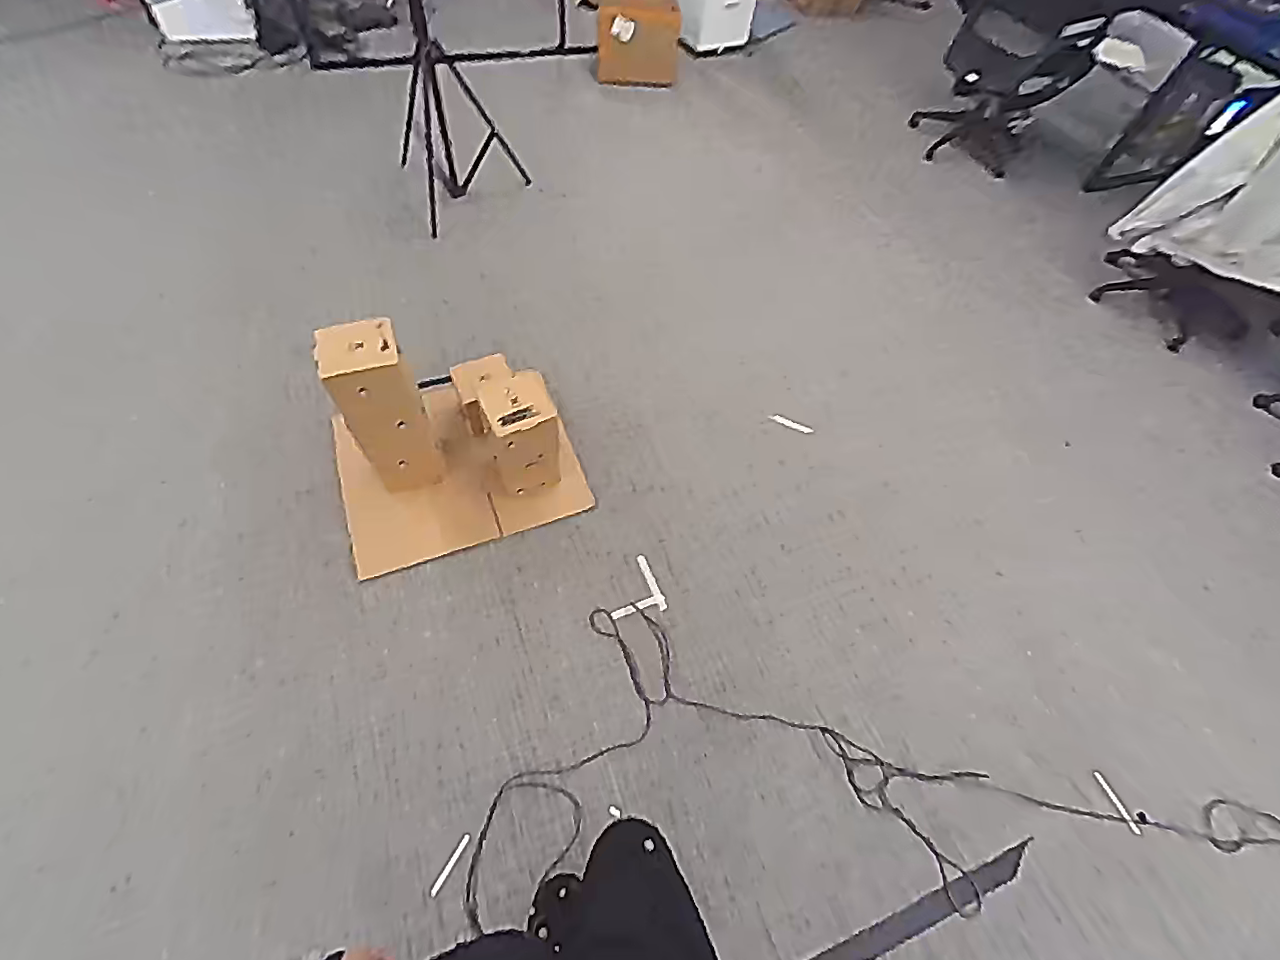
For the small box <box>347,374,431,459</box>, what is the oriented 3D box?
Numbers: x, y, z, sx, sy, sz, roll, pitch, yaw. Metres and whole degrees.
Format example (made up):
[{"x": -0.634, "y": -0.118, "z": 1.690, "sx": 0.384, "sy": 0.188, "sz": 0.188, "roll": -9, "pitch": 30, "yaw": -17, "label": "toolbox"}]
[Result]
[{"x": -0.677, "y": -0.181, "z": 1.470, "sx": 0.179, "sy": 0.176, "sz": 0.168, "roll": -14, "pitch": 60, "yaw": -12, "label": "small box"}]

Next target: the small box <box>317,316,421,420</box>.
[{"x": -0.664, "y": -0.271, "z": 1.333, "sx": 0.179, "sy": 0.176, "sz": 0.168, "roll": -16, "pitch": 62, "yaw": -13, "label": "small box"}]

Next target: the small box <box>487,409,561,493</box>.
[{"x": -0.345, "y": -0.080, "z": 1.635, "sx": 0.168, "sy": 0.176, "sz": 0.179, "roll": -21, "pitch": 62, "yaw": -18, "label": "small box"}]

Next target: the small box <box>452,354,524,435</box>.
[{"x": -0.483, "y": -0.273, "z": 1.745, "sx": 0.179, "sy": 0.176, "sz": 0.168, "roll": -21, "pitch": 61, "yaw": -17, "label": "small box"}]

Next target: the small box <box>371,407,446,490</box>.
[{"x": -0.688, "y": -0.093, "z": 1.608, "sx": 0.179, "sy": 0.176, "sz": 0.168, "roll": -15, "pitch": 61, "yaw": -13, "label": "small box"}]
